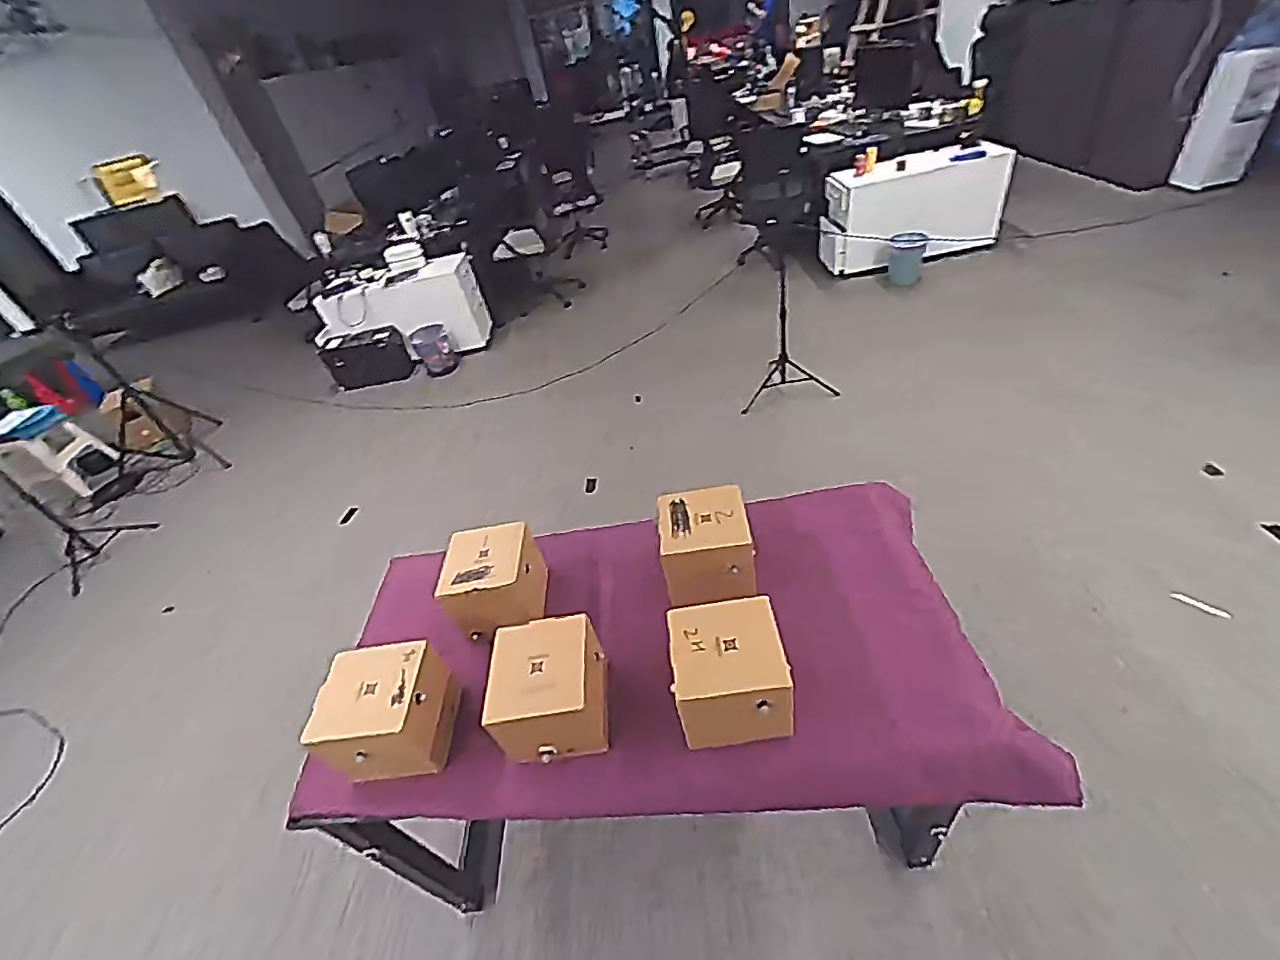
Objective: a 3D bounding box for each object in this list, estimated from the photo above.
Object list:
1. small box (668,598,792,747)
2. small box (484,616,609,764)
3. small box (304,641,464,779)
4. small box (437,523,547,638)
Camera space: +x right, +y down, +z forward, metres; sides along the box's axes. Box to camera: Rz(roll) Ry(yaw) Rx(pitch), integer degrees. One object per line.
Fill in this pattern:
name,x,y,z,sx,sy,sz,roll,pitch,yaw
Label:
small box,0.149,0.324,0.907,0.179,0.176,0.168,-10,40,5
small box,-0.154,0.369,0.948,0.168,0.176,0.179,-11,42,5
small box,-0.445,0.417,0.971,0.179,0.176,0.168,-10,41,6
small box,-0.306,0.222,1.160,0.168,0.176,0.179,-10,40,4
